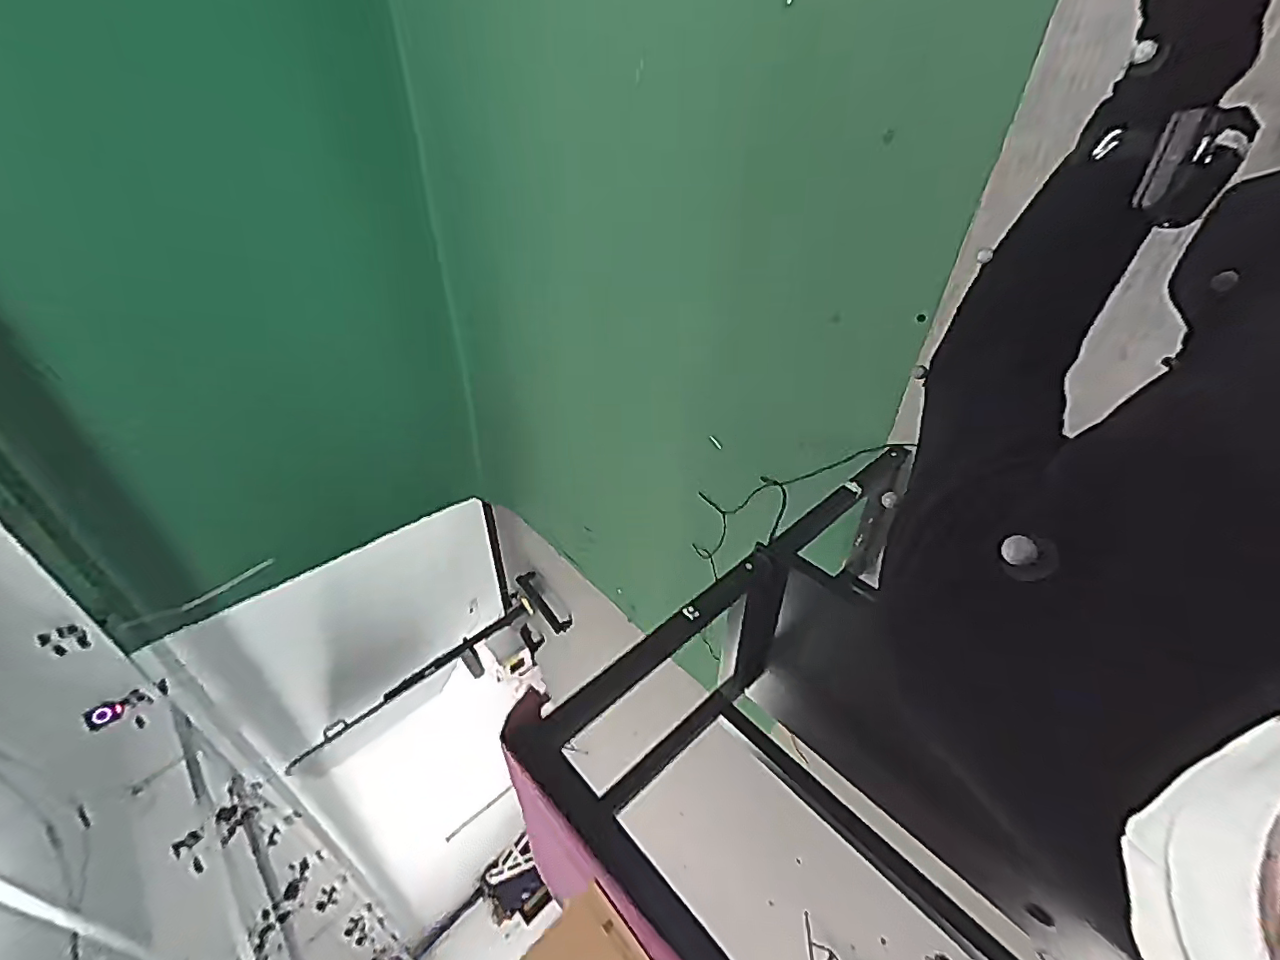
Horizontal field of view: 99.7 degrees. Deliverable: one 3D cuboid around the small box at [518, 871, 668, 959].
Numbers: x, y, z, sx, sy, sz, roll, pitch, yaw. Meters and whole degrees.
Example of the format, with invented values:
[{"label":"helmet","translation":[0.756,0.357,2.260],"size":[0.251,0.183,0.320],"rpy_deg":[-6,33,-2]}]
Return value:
[{"label":"small box","translation":[-0.069,0.751,0.830],"size":[0.168,0.176,0.179],"rpy_deg":[39,143,28]}]
